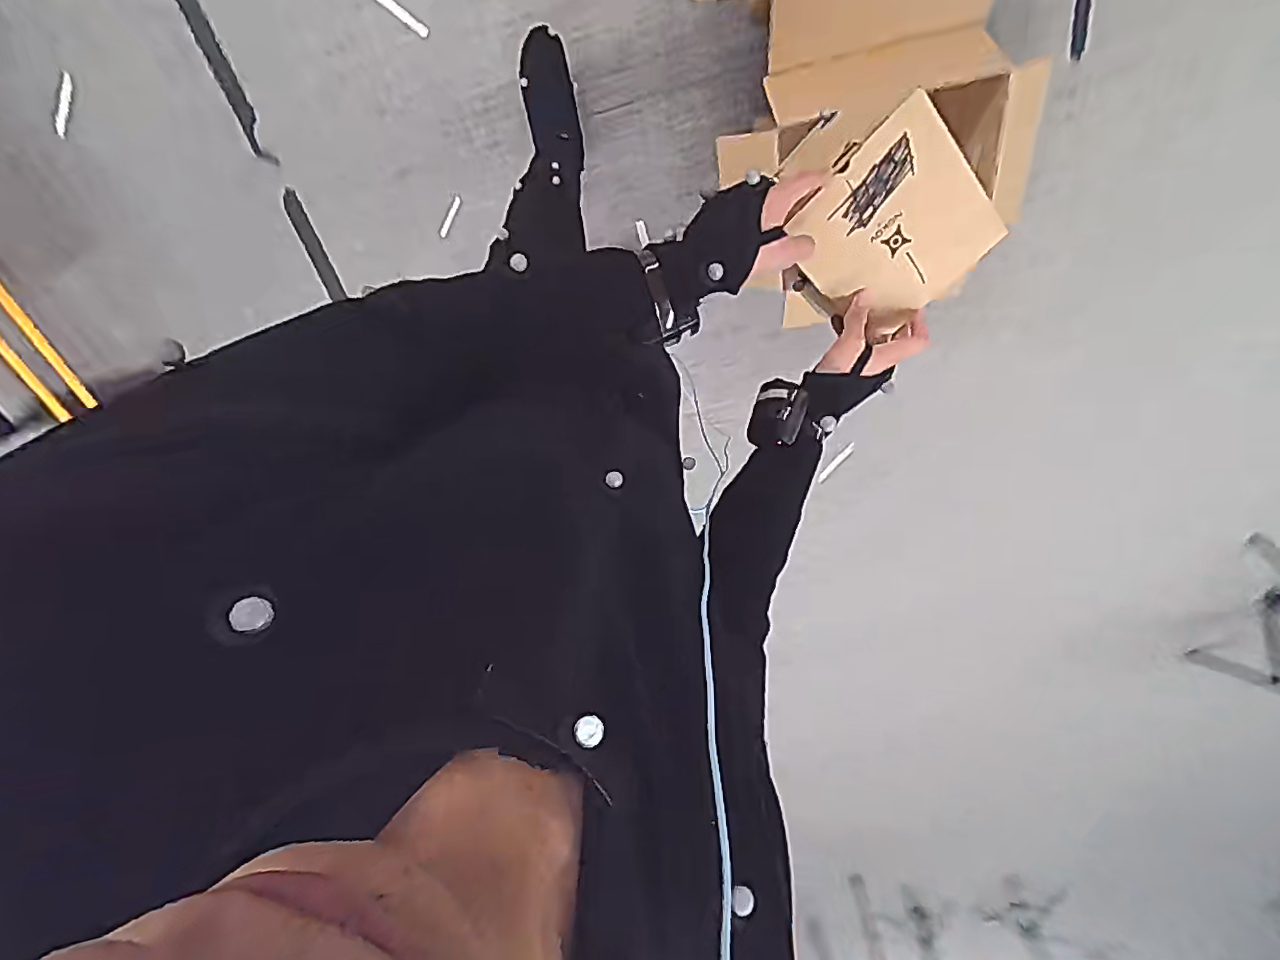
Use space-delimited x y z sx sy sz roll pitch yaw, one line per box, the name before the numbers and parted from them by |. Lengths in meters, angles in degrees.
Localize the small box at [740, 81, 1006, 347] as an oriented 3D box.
small box | 0.234 -0.281 0.586 0.179 0.176 0.168 37 113 -25
